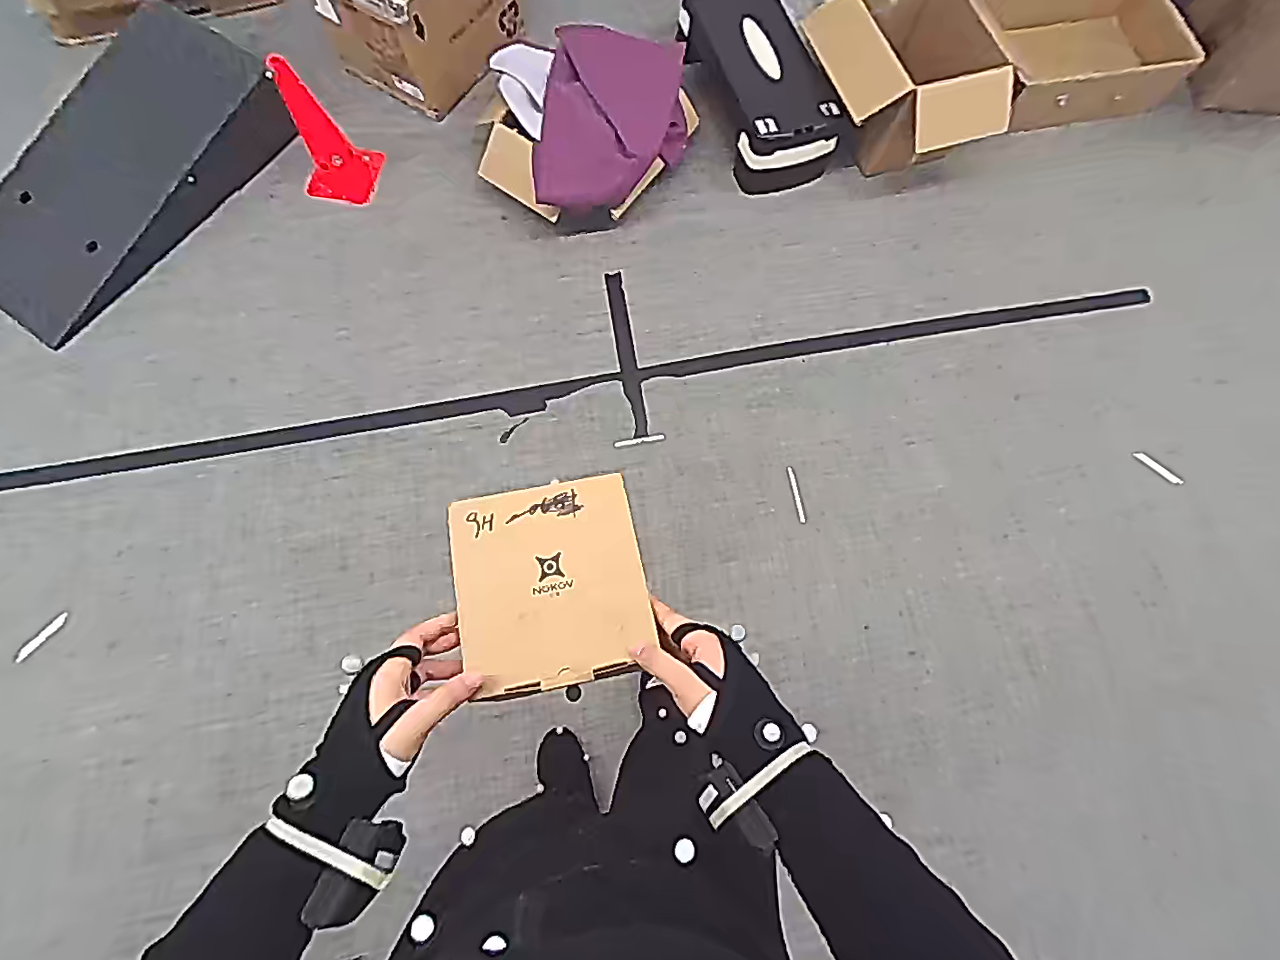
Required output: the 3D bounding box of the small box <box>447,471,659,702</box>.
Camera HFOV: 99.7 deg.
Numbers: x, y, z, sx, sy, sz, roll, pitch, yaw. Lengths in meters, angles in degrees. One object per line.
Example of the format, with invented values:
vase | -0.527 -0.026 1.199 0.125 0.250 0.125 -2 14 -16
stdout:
small box | -0.083 0.112 0.547 0.168 0.176 0.179 -11 70 -8
